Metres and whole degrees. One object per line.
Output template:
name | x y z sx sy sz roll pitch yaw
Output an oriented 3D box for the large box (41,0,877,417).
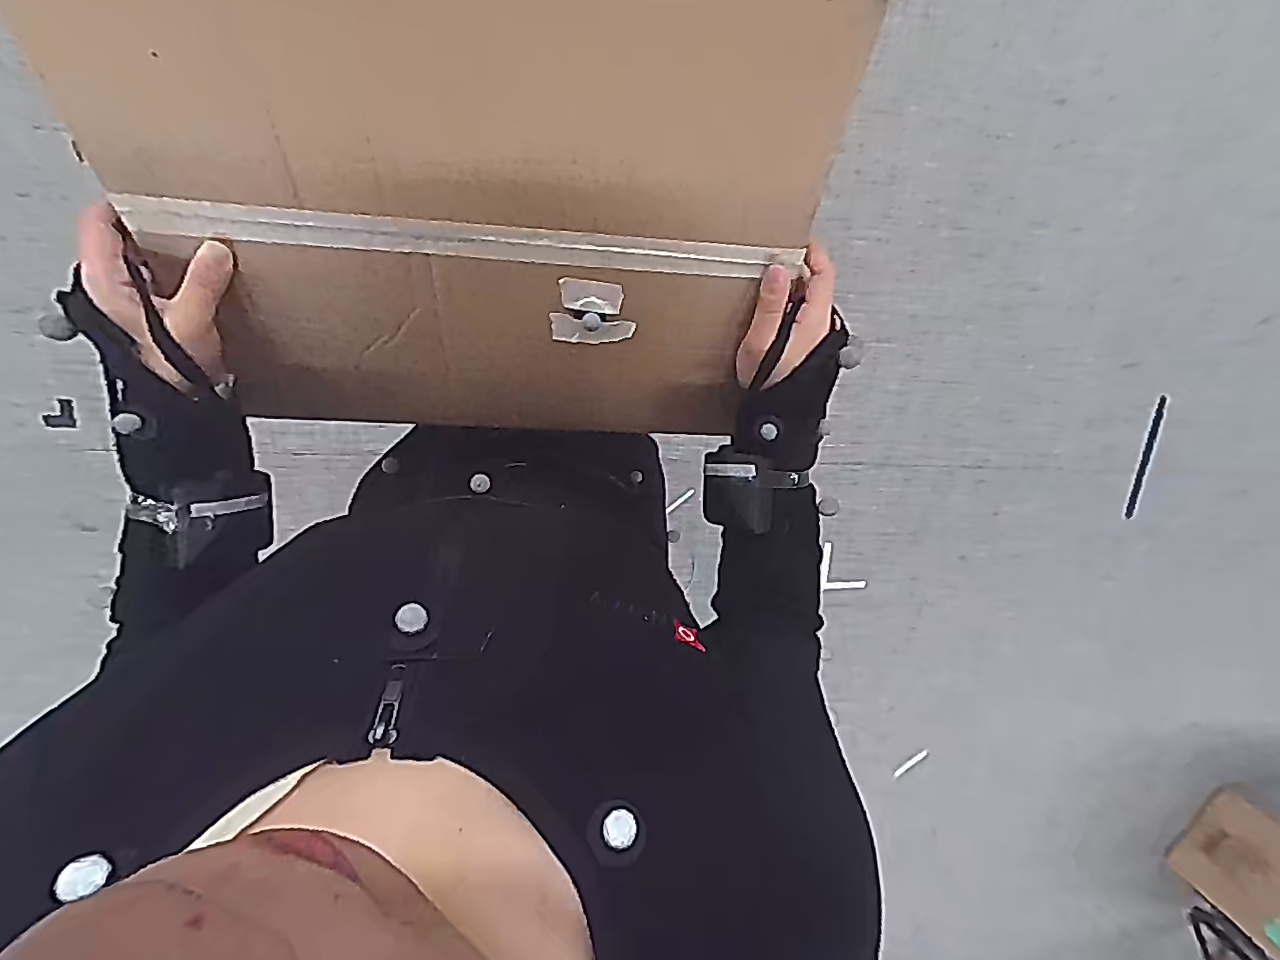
large box | -0.104 -0.268 0.440 0.408 0.320 0.320 0 139 -9
